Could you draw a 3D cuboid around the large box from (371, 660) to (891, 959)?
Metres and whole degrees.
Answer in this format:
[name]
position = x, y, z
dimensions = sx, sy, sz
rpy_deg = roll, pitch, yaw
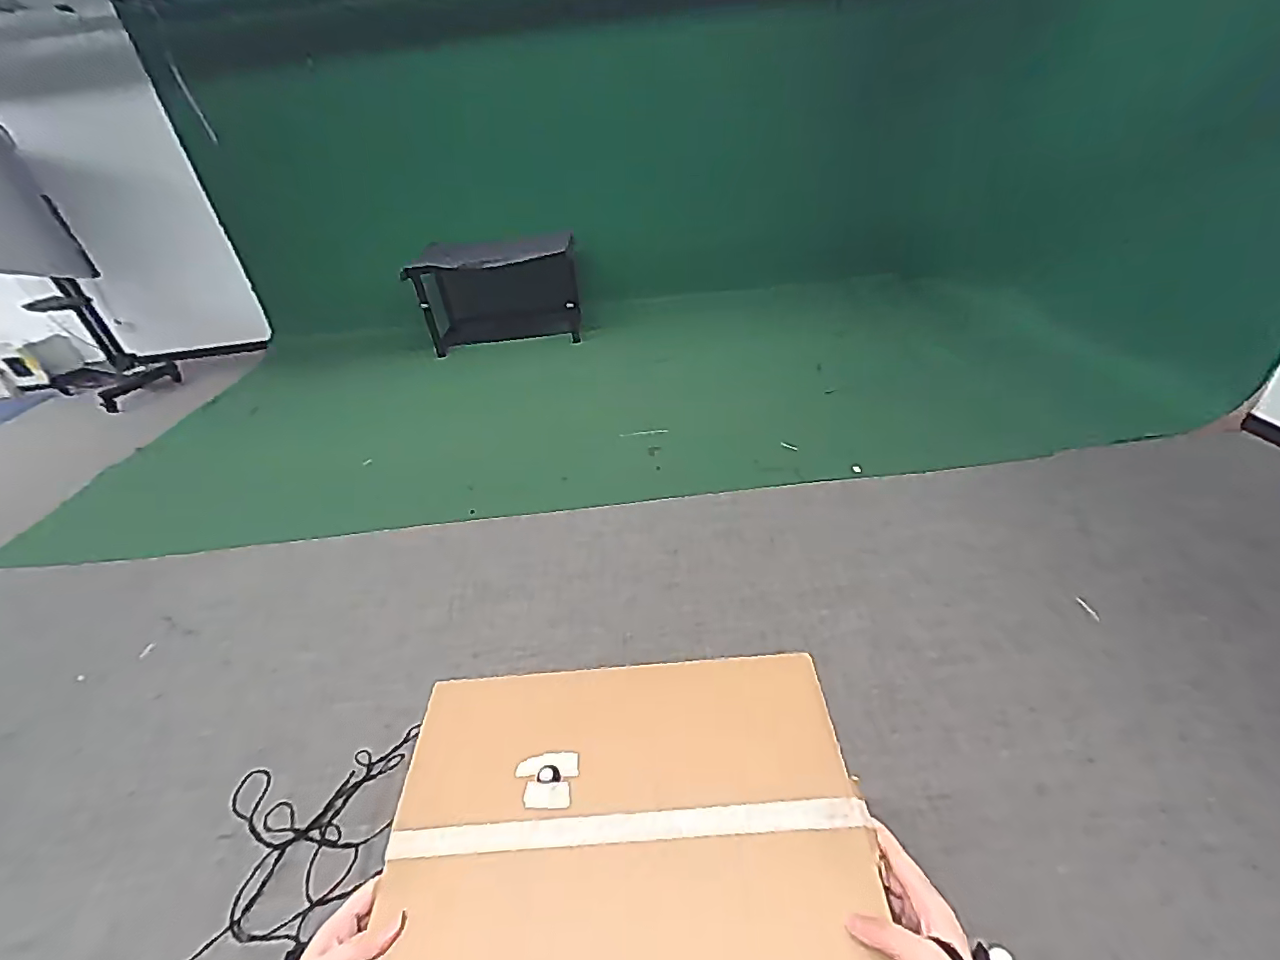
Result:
[large box]
position = 0.002, 0.425, 0.564
dimensions = 0.408, 0.320, 0.320
rpy_deg = -7, 39, 4
